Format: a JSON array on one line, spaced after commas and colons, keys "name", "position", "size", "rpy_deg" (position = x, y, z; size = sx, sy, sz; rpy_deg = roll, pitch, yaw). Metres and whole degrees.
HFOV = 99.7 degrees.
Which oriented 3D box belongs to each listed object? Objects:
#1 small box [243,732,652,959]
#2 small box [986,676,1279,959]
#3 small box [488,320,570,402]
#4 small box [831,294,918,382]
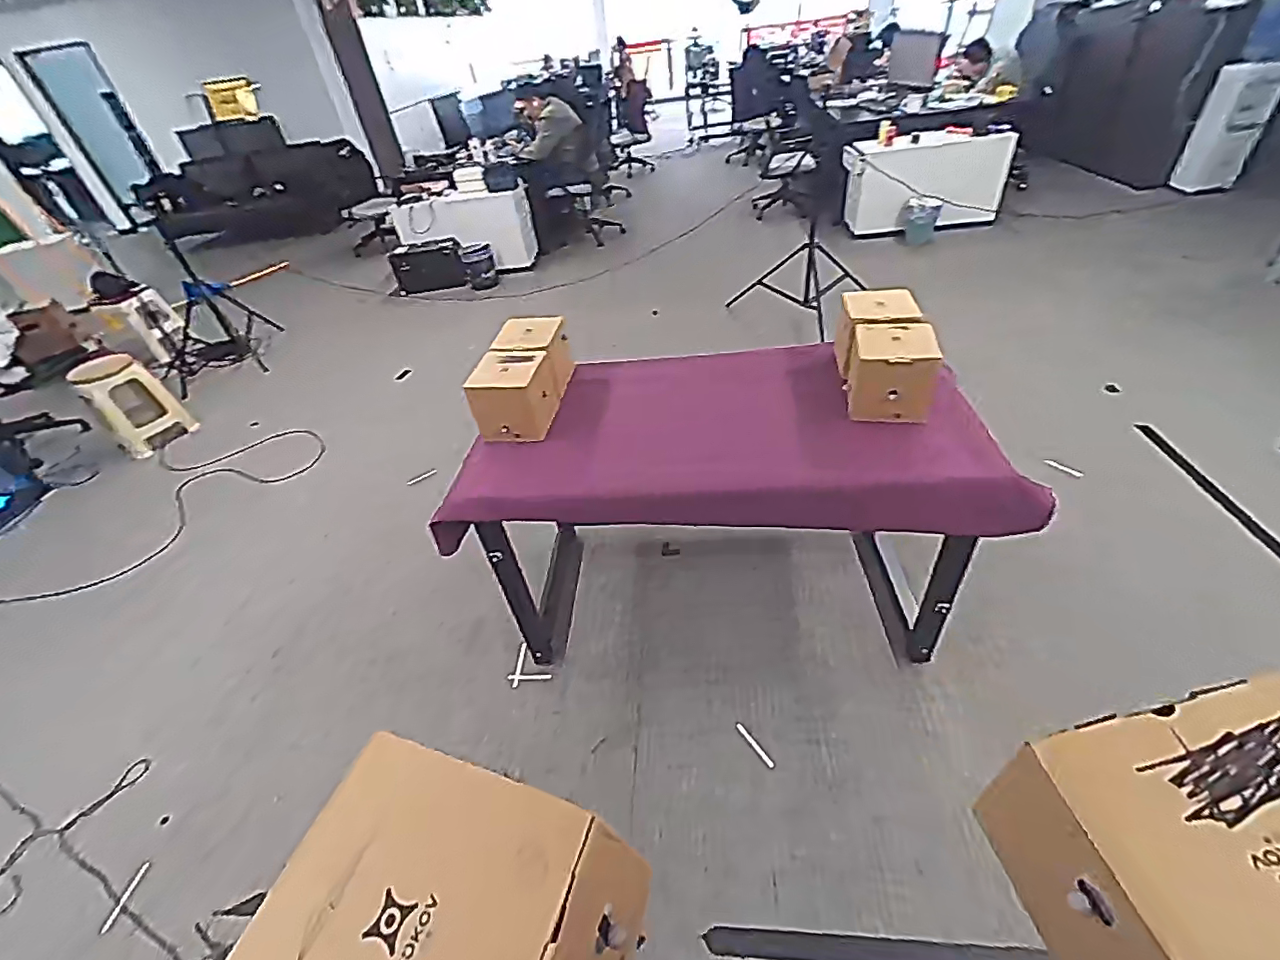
[{"name": "small box", "position": [-0.106, 0.296, 0.347], "size": [0.179, 0.176, 0.168], "rpy_deg": [6, 46, 24]}, {"name": "small box", "position": [0.347, 0.250, 0.321], "size": [0.168, 0.176, 0.179], "rpy_deg": [-17, 45, 2]}, {"name": "small box", "position": [-0.305, -0.338, 1.534], "size": [0.168, 0.176, 0.179], "rpy_deg": [0, 42, 10]}, {"name": "small box", "position": [0.606, -0.373, 1.421], "size": [0.168, 0.176, 0.179], "rpy_deg": [0, 40, 10]}]
